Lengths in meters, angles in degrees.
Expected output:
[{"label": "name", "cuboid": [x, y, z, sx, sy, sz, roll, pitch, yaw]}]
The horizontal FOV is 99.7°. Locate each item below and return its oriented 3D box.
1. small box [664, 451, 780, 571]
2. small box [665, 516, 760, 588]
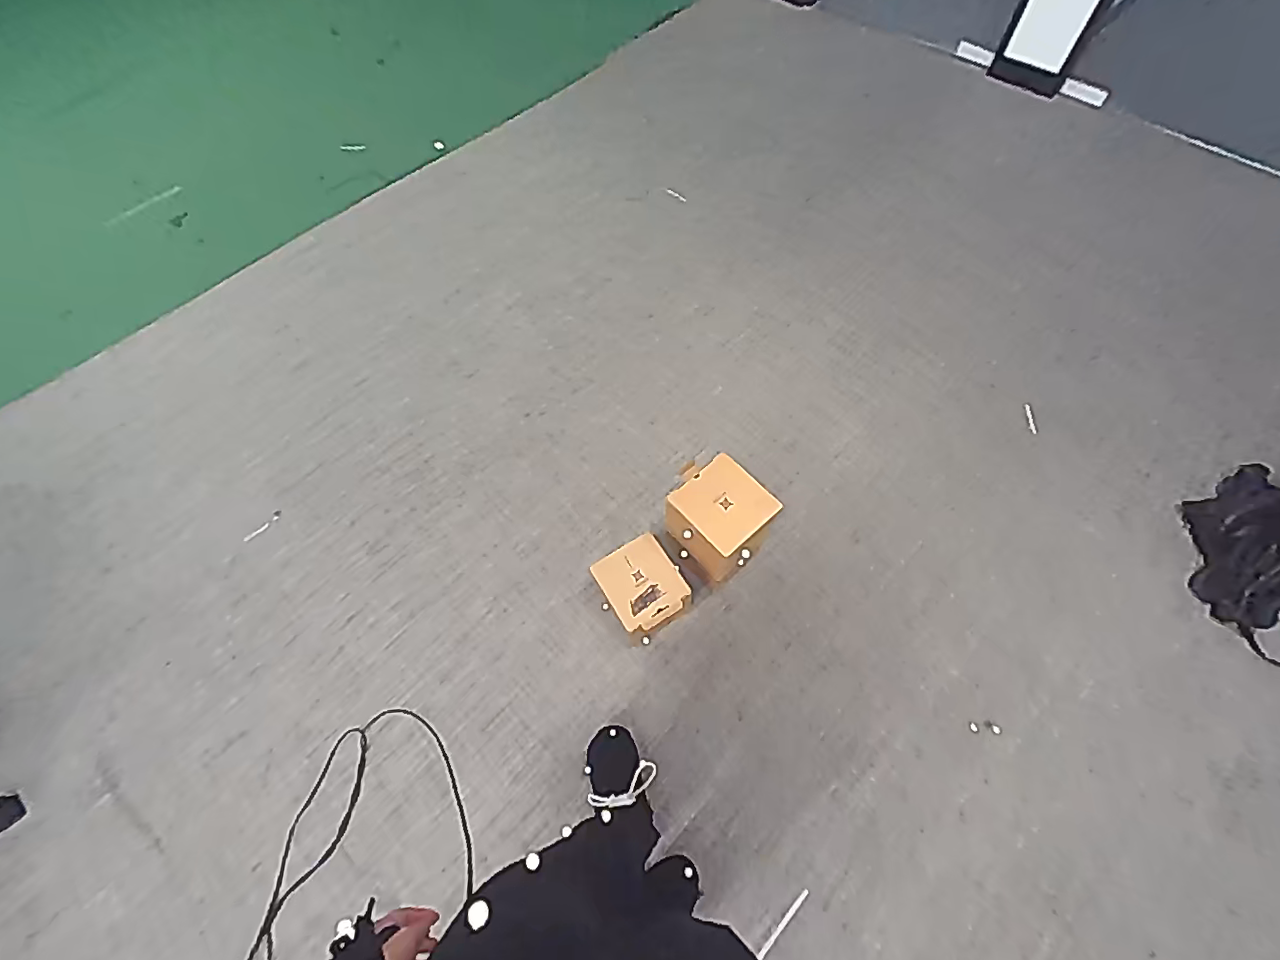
[{"label": "small box", "cuboid": [0.170, 0.077, 1.163, 0.168, 0.176, 0.179, -39, 67, -15]}, {"label": "small box", "cuboid": [0.176, 0.134, 1.317, 0.168, 0.176, 0.179, -39, 67, -16]}]
